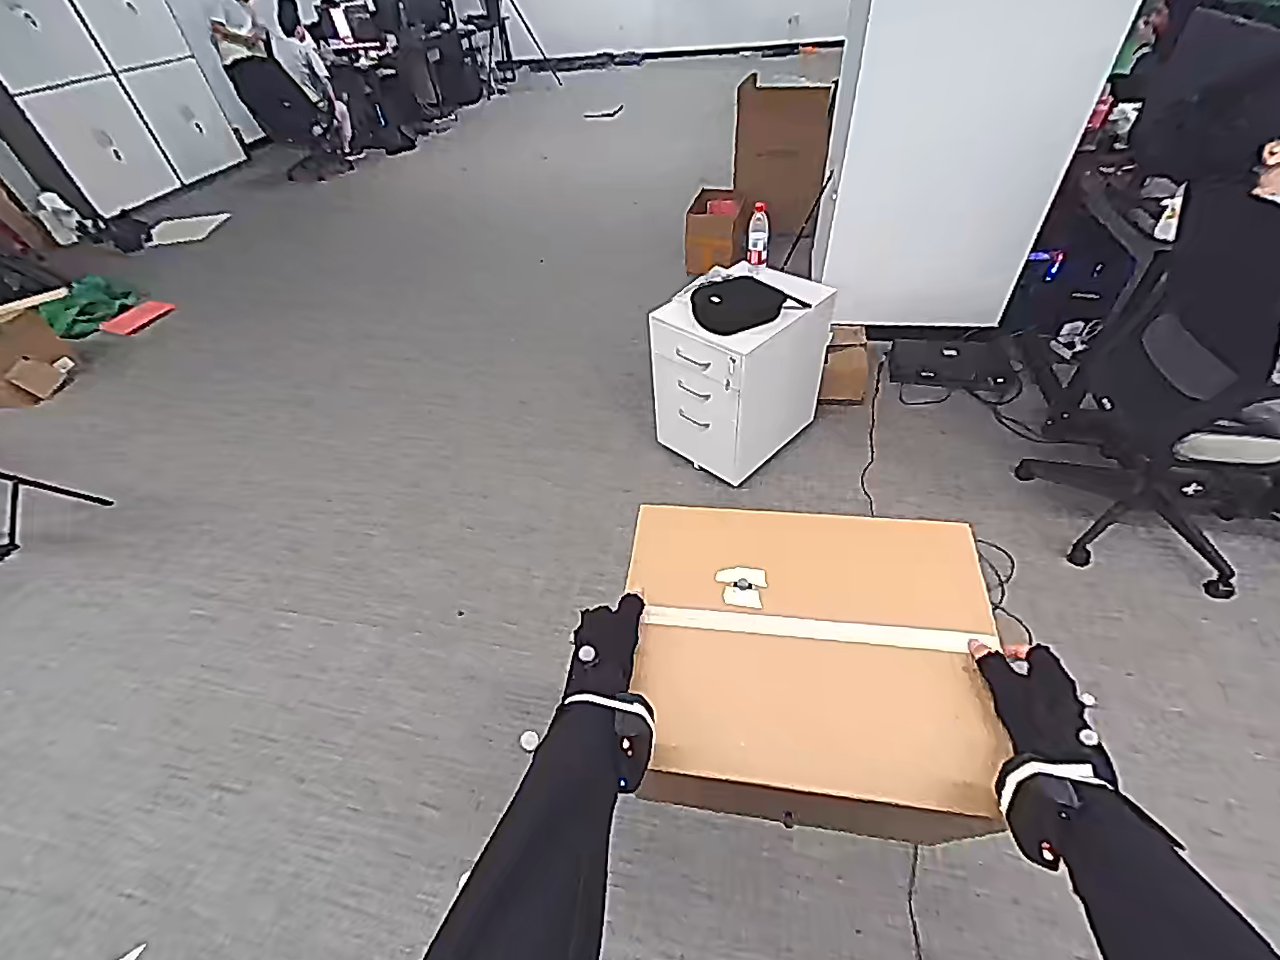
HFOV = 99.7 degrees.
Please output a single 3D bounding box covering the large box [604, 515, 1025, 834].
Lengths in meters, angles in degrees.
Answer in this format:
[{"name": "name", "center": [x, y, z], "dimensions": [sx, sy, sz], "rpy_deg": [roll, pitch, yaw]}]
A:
[{"name": "large box", "center": [0.196, 0.263, 0.727], "dimensions": [0.408, 0.320, 0.320], "rpy_deg": [2, 53, 11]}]
